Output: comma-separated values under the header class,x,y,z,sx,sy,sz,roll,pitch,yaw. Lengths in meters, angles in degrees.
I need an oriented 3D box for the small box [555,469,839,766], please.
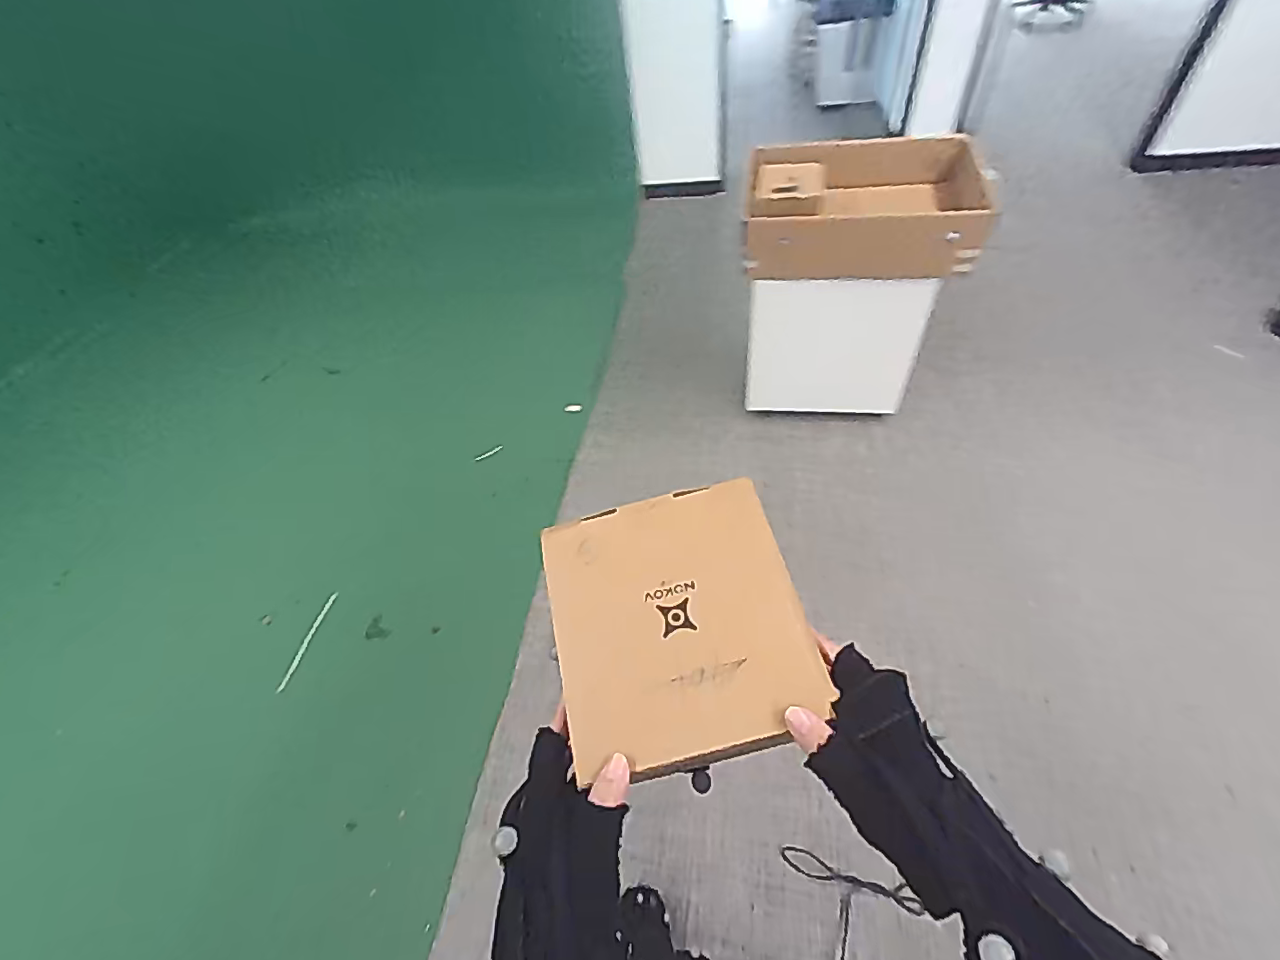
class,x,y,z,sx,sy,sz,roll,pitch,yaw
small box,0.036,0.120,0.441,0.168,0.176,0.179,-13,60,0
